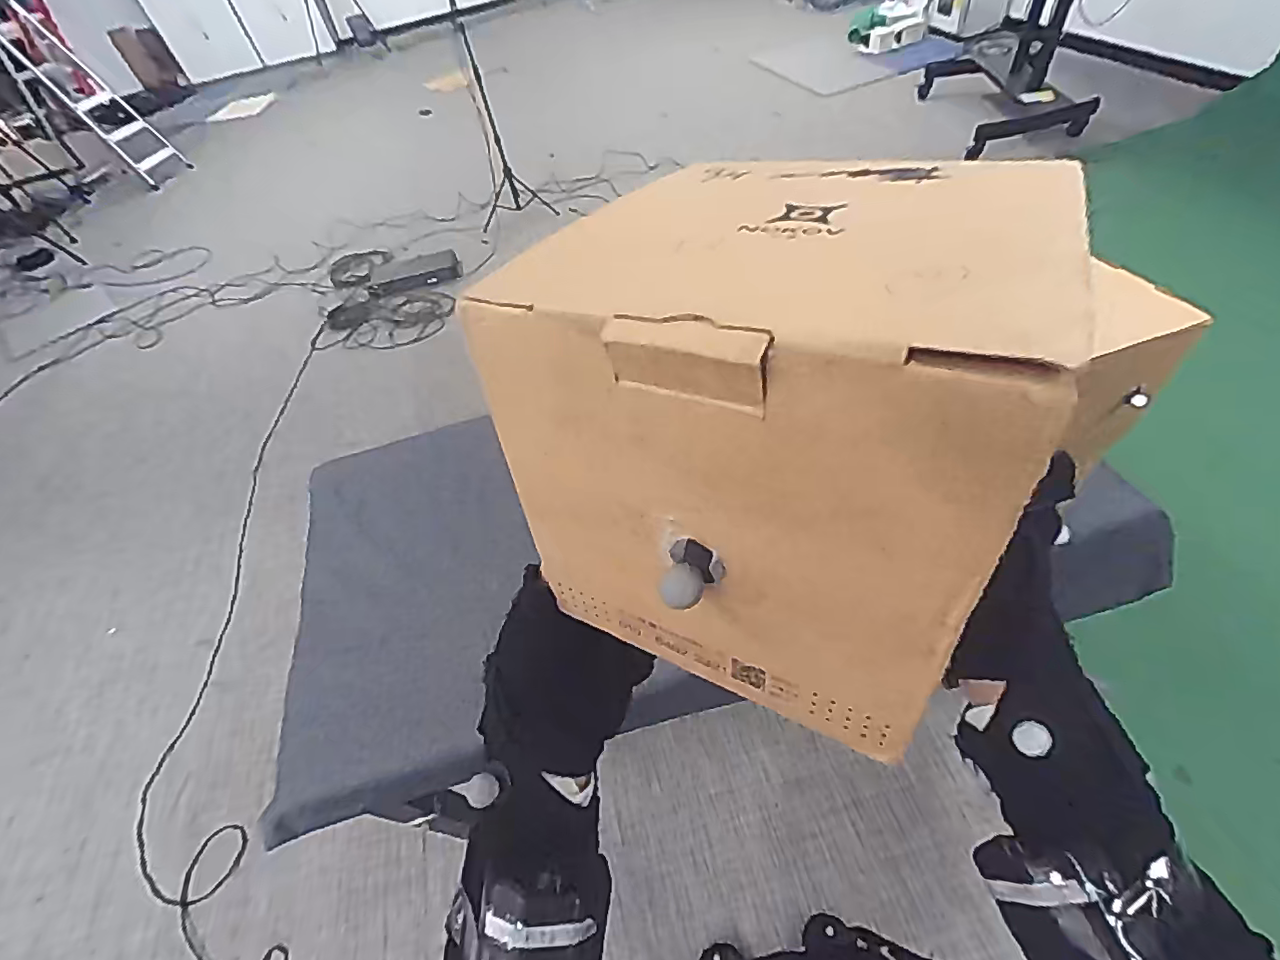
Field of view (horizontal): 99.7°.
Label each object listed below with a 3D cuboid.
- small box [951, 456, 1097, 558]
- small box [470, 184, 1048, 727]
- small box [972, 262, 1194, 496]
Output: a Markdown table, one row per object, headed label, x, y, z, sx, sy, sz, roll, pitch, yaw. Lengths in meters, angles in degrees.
| label | x | y | z | sx | sy | sz | roll | pitch | yaw |
| --- | --- | --- | --- | --- | --- | --- | --- | --- | --- |
| small box | 0.454 | -0.015 | 0.742 | 0.168 | 0.176 | 0.179 | -20 | 49 | -6 |
| small box | 0.061 | -0.024 | 0.253 | 0.168 | 0.176 | 0.179 | 16 | 46 | 27 |
| small box | 0.432 | -0.111 | 0.613 | 0.179 | 0.176 | 0.168 | -20 | 48 | -4 |
